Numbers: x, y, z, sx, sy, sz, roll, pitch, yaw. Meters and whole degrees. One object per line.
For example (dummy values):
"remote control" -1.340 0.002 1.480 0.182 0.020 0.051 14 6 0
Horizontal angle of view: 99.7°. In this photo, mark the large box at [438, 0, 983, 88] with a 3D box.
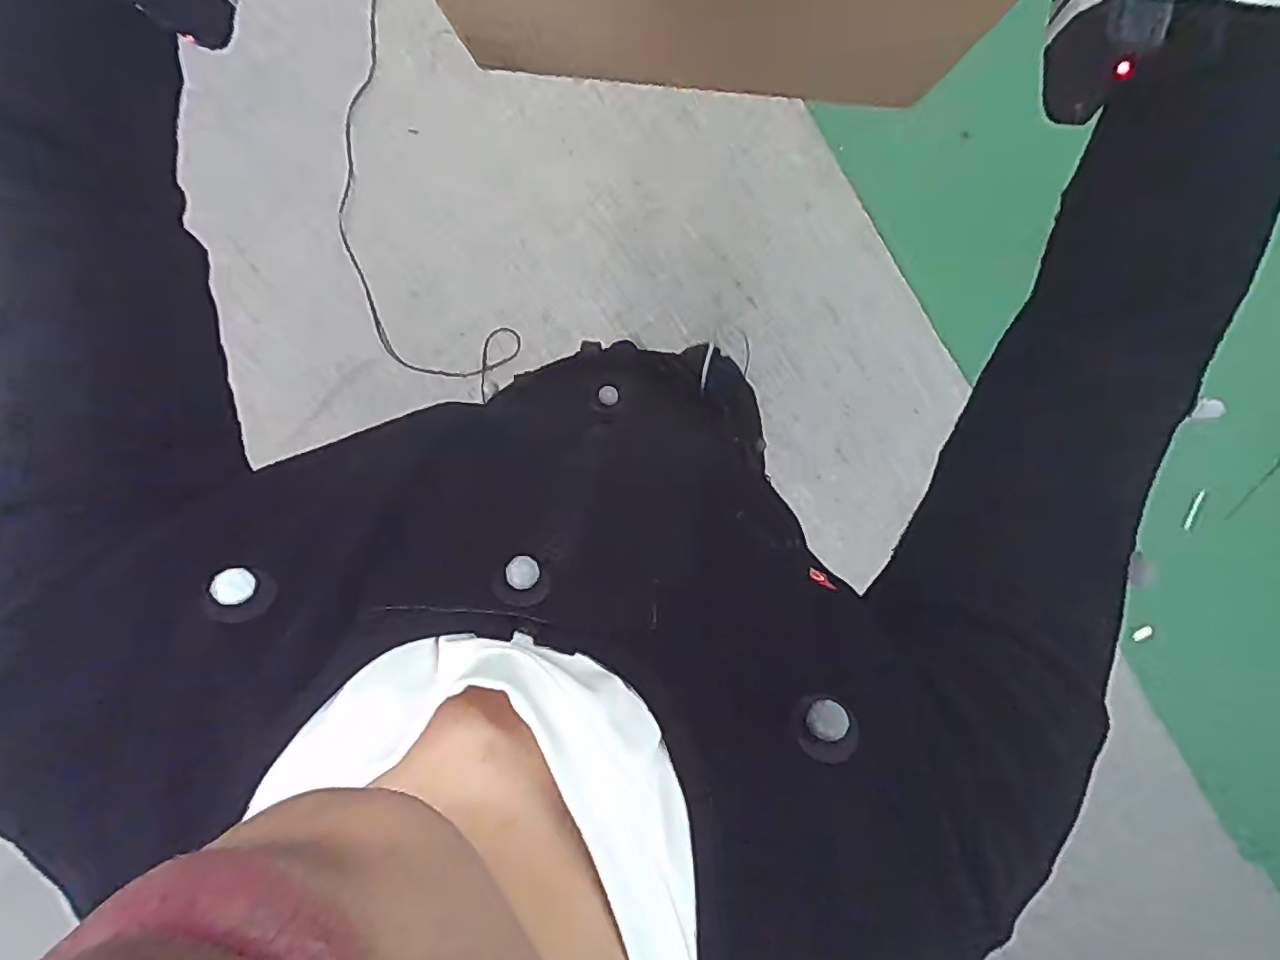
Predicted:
"large box" 0.048 -0.480 0.316 0.408 0.320 0.320 5 104 1
